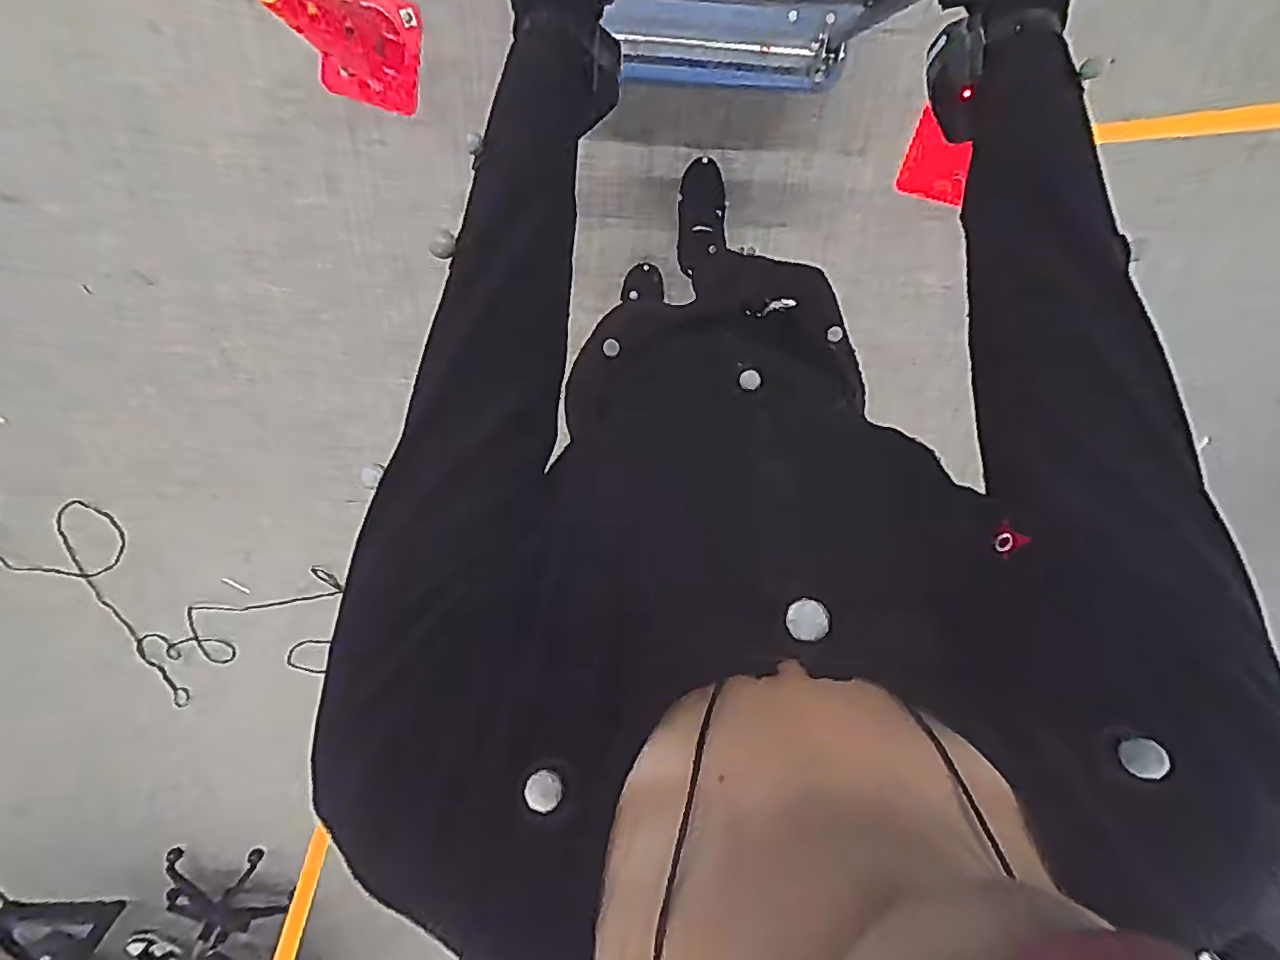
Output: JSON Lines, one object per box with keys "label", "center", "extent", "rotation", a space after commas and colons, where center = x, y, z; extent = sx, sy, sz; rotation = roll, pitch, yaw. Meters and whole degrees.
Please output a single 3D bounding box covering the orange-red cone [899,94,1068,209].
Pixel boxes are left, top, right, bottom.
{"label": "orange-red cone", "center": [0.714, -0.662, 1.077], "extent": [0.198, 0.360, 0.199], "rotation": [12, 117, -6]}
